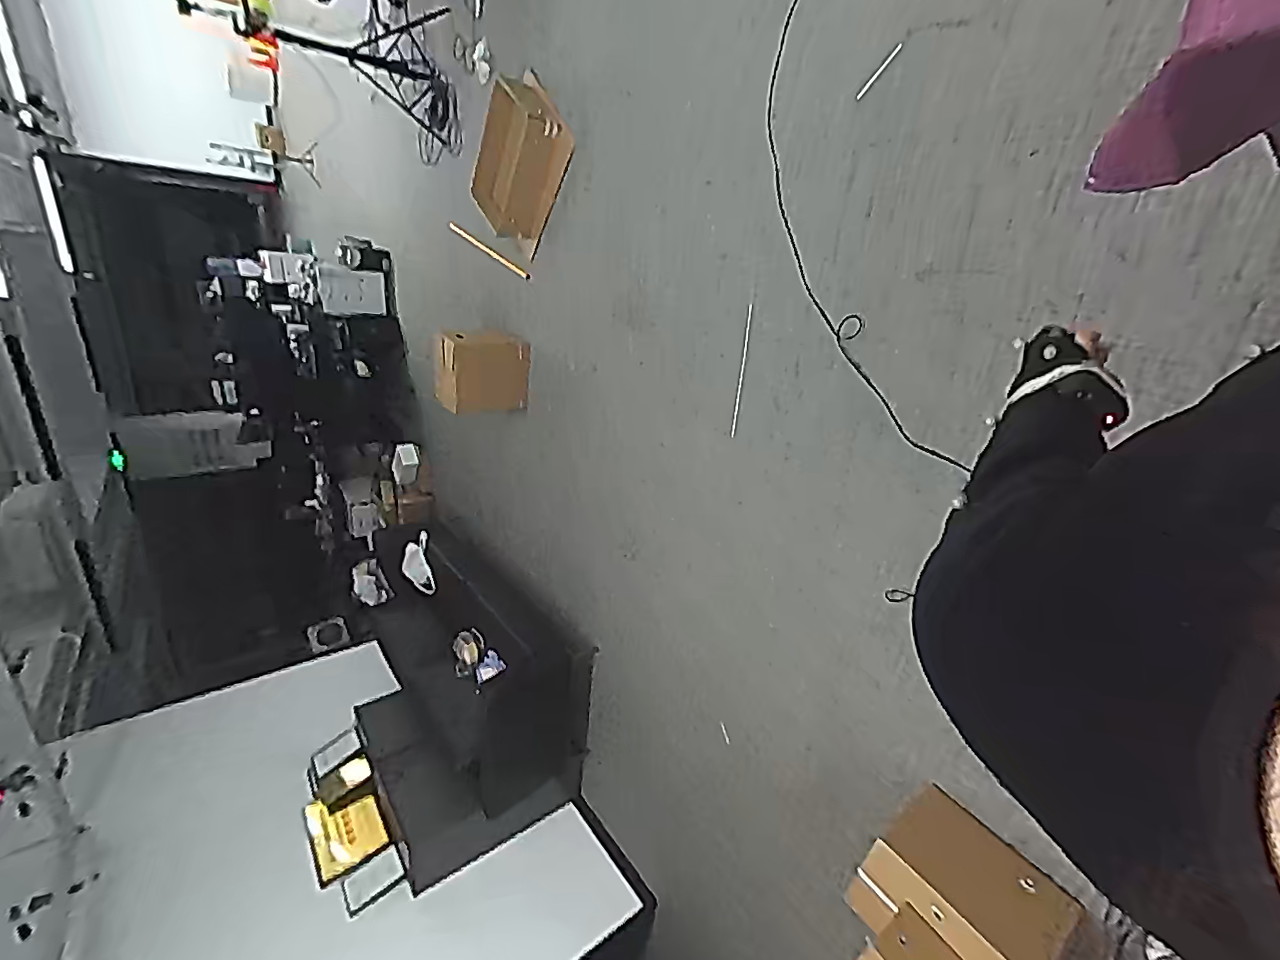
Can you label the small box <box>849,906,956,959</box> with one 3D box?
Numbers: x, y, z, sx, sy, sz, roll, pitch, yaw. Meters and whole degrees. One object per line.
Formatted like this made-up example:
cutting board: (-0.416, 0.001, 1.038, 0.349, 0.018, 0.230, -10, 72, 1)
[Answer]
small box: (0.661, 1.227, 1.362, 0.179, 0.176, 0.168, 38, 130, 40)
